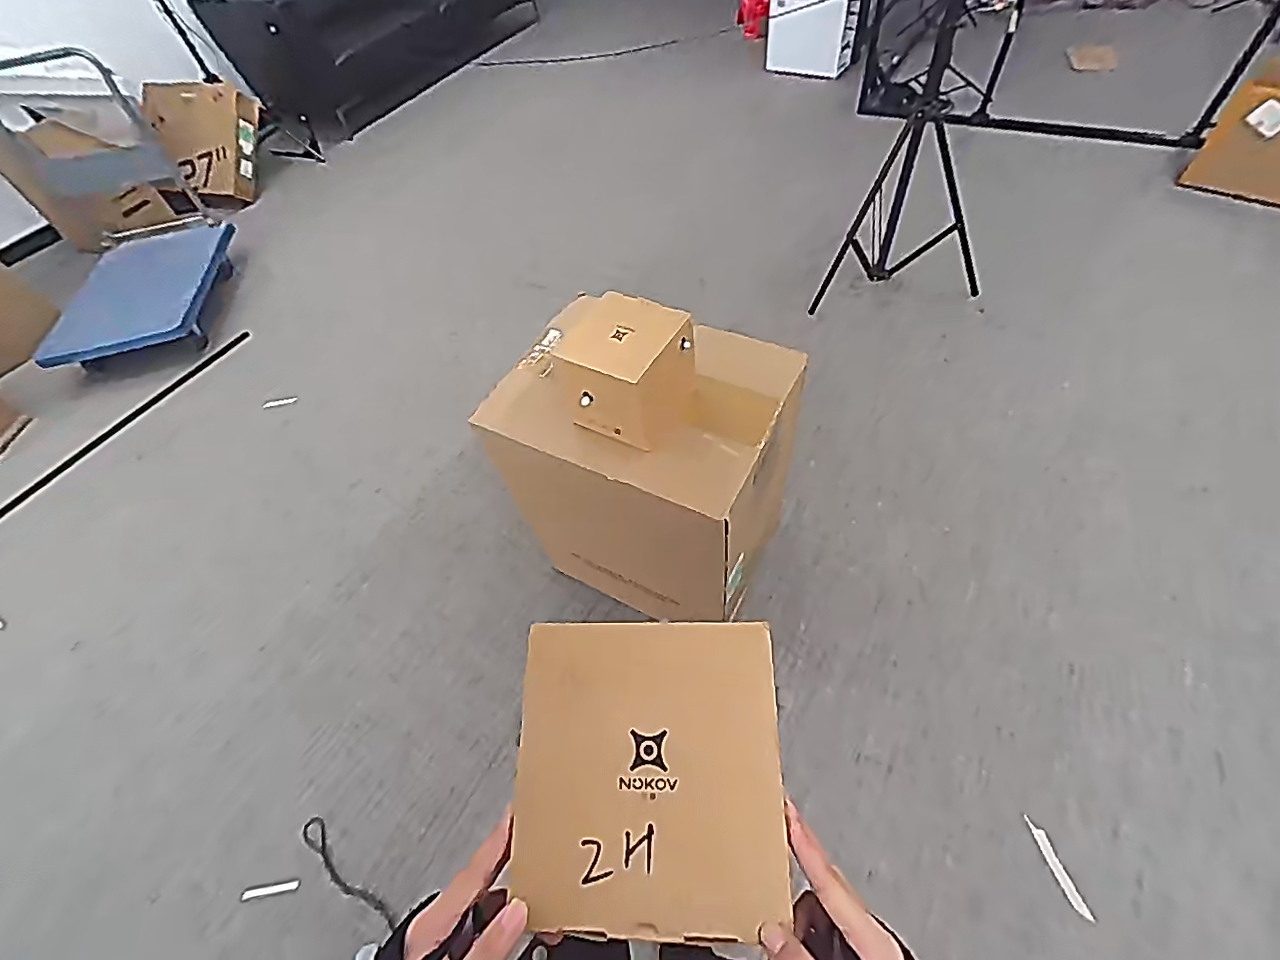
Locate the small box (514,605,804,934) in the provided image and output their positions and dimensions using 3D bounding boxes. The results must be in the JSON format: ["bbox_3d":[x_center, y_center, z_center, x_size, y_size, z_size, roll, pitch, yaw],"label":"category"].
[{"bbox_3d":[0.019,0.199,0.406,0.168,0.176,0.179,-1,66,7],"label":"small box"}]

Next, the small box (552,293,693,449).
[{"bbox_3d":[-0.017,-0.180,0.916,0.168,0.176,0.179,23,60,23],"label":"small box"}]
